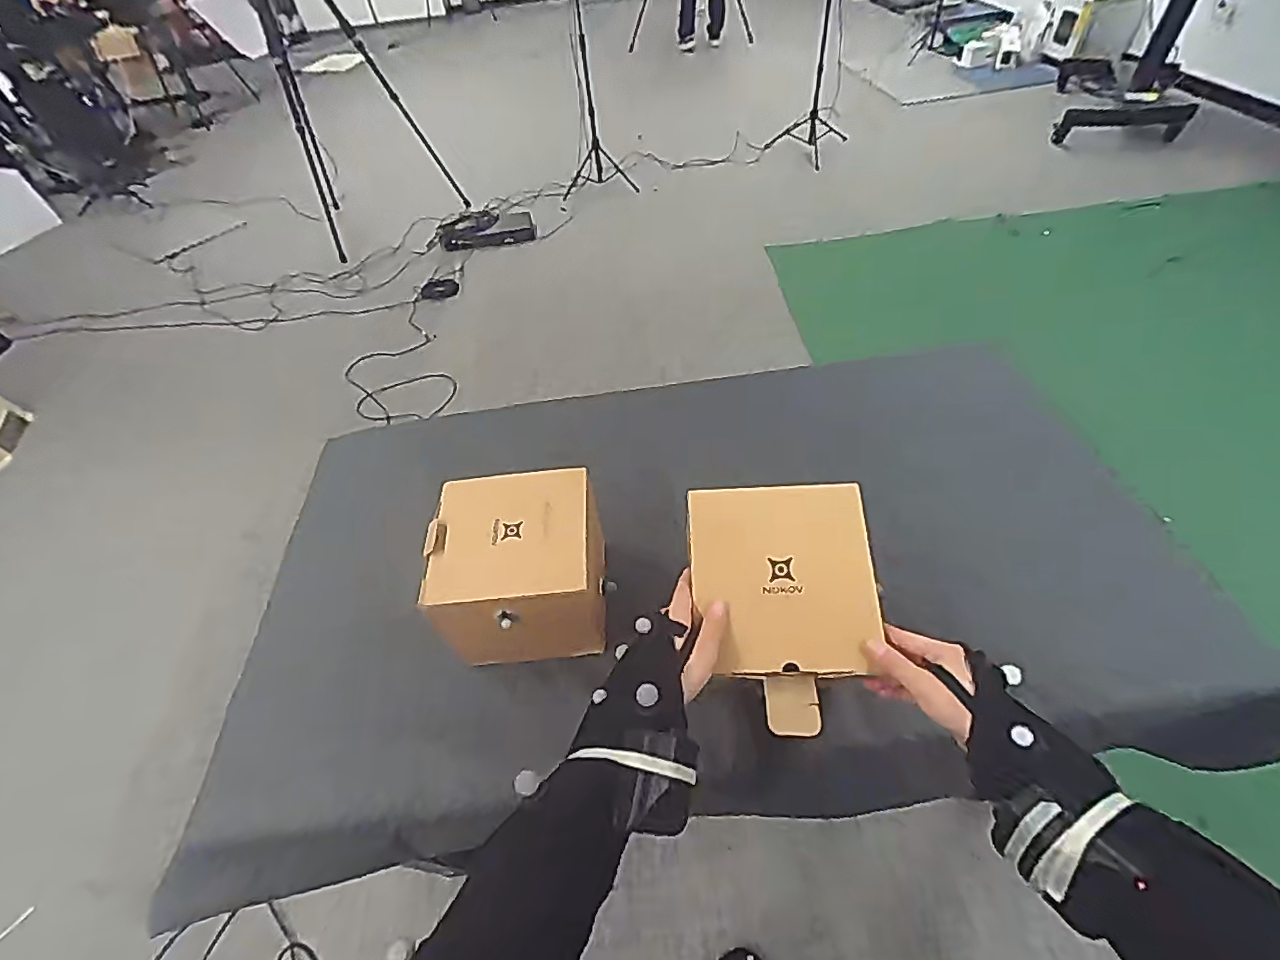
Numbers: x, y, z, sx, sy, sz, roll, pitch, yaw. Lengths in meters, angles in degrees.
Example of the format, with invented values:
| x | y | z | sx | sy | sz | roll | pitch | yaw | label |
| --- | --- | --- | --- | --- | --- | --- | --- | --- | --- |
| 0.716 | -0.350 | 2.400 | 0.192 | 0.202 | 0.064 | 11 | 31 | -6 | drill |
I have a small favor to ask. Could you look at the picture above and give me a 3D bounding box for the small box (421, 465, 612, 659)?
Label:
| x | y | z | sx | sy | sz | roll | pitch | yaw | label |
| --- | --- | --- | --- | --- | --- | --- | --- | --- | --- |
| -0.135 | 0.105 | 0.656 | 0.179 | 0.176 | 0.168 | -7 | 51 | 1 | small box |
